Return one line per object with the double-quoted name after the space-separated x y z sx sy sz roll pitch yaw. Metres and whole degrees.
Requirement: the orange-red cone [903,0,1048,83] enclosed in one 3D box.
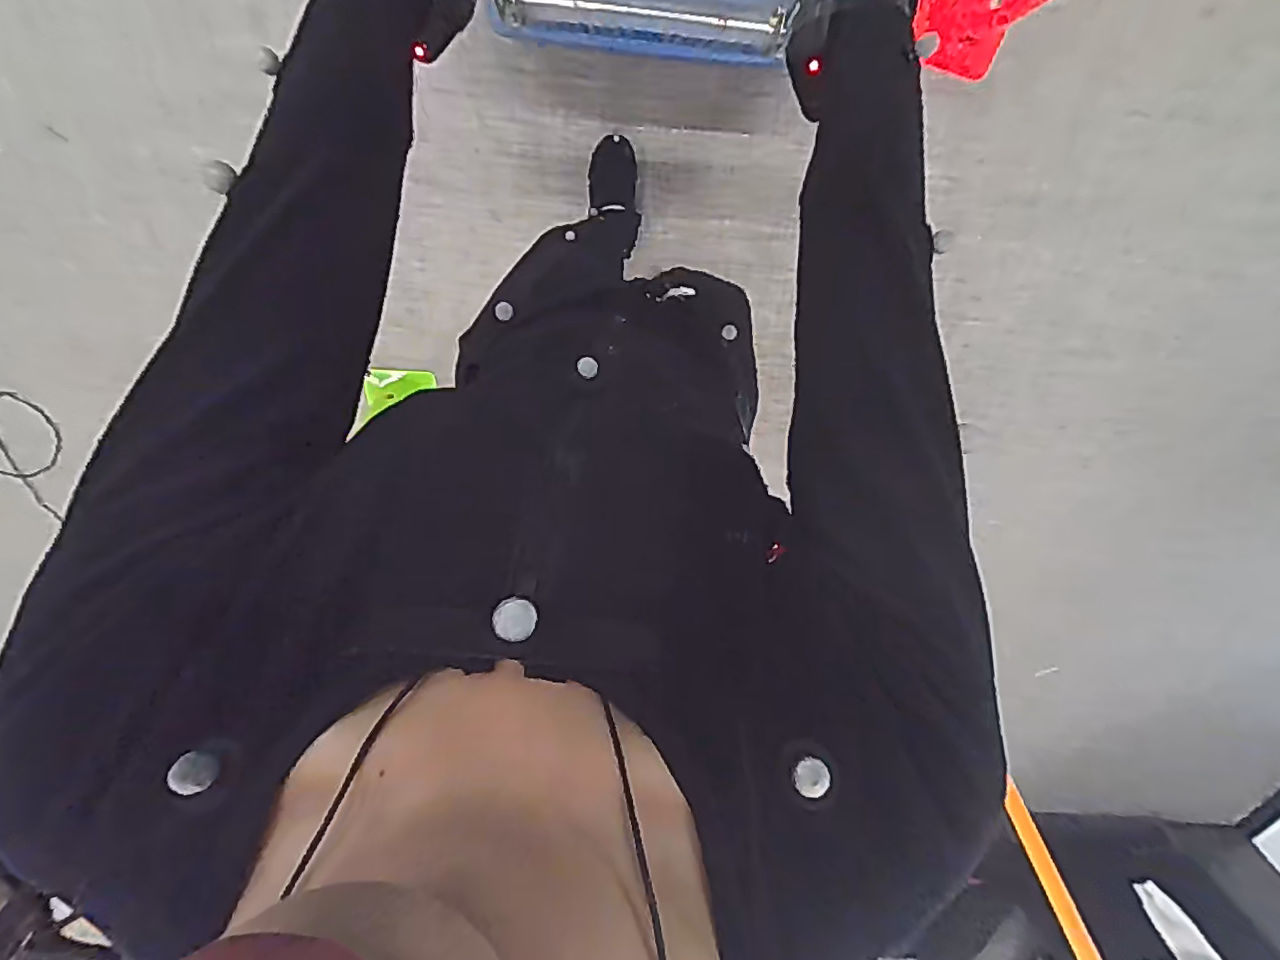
0.652 -0.845 0.935 0.198 0.360 0.199 13 121 -7 "orange-red cone"
